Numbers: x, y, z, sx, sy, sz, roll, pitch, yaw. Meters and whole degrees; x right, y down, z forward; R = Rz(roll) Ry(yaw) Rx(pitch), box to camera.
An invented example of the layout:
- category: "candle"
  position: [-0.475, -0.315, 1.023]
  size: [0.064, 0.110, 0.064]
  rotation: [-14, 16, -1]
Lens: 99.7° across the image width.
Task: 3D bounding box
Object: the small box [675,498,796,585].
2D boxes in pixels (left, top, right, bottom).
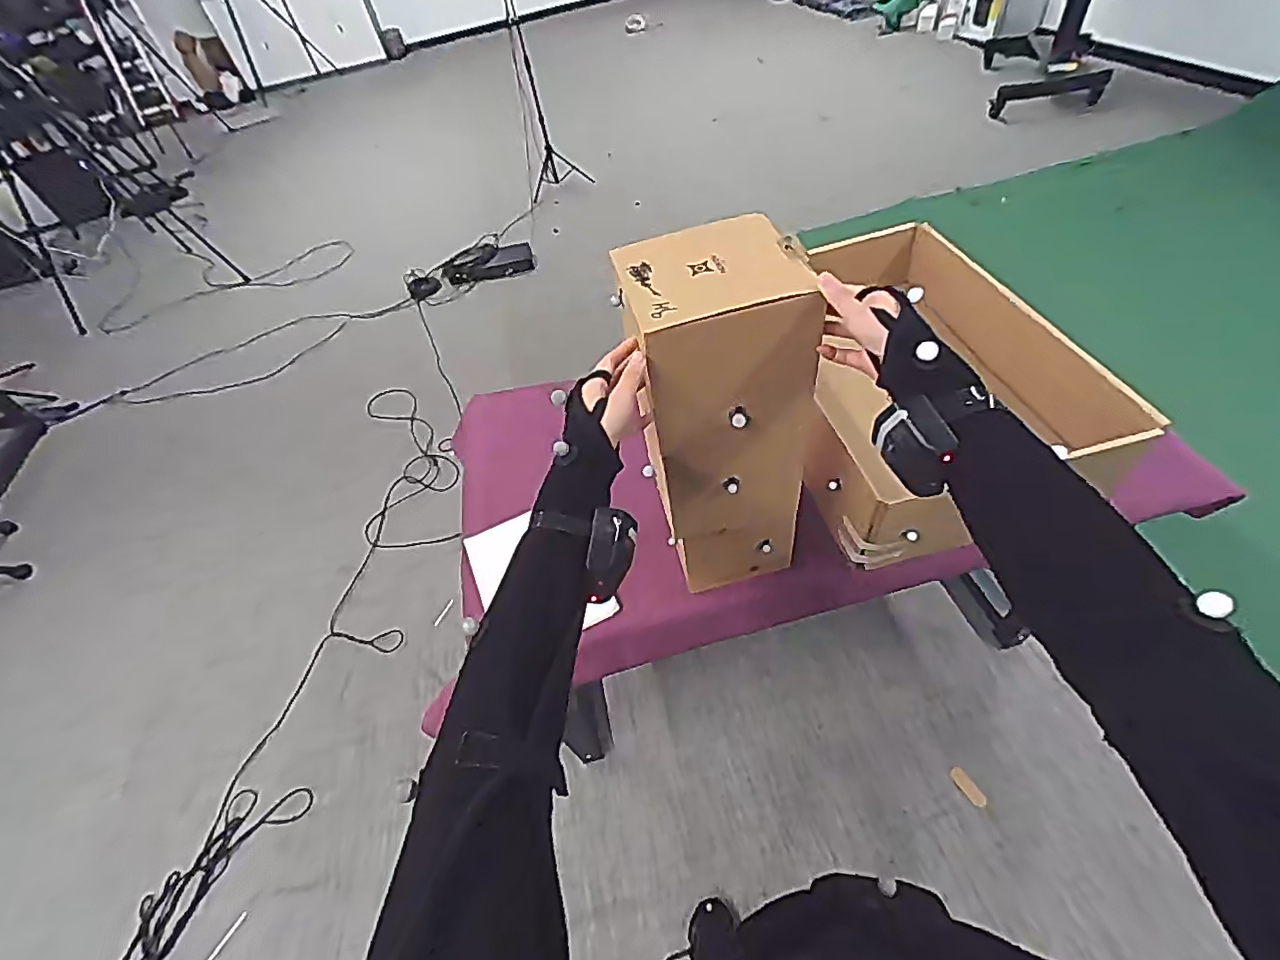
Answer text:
- category: "small box"
  position: [0.133, 0.047, 0.847]
  size: [0.168, 0.176, 0.179]
  rotation: [-14, 48, -1]

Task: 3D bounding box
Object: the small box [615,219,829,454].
- category: "small box"
  position: [0.080, -0.153, 0.592]
  size: [0.179, 0.176, 0.168]
  rotation: [-14, 48, -2]

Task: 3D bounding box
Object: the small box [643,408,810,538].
- category: "small box"
  position: [0.105, -0.048, 0.717]
  size: [0.179, 0.176, 0.168]
  rotation: [-14, 48, -1]
